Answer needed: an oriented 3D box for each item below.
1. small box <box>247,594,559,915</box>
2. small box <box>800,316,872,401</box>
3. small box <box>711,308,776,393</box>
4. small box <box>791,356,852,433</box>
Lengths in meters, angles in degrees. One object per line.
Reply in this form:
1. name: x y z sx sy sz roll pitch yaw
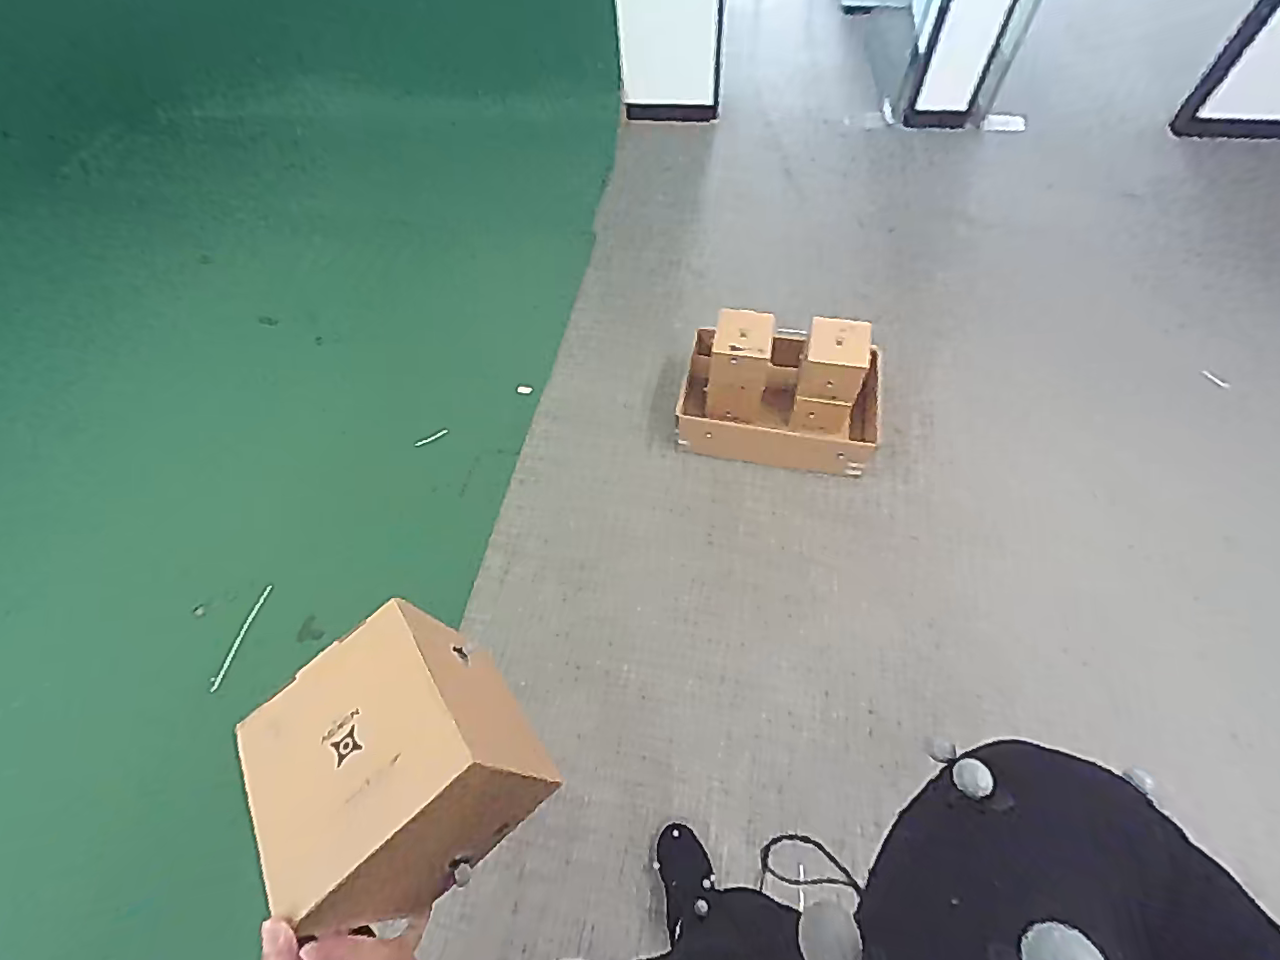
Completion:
1. small box: -0.204 0.243 0.490 0.168 0.176 0.179 -39 54 -9
2. small box: 0.578 -0.357 1.609 0.168 0.176 0.179 10 62 11
3. small box: 0.311 -0.392 1.646 0.168 0.176 0.179 8 62 9
4. small box: 0.589 -0.275 1.752 0.168 0.176 0.179 10 62 11
